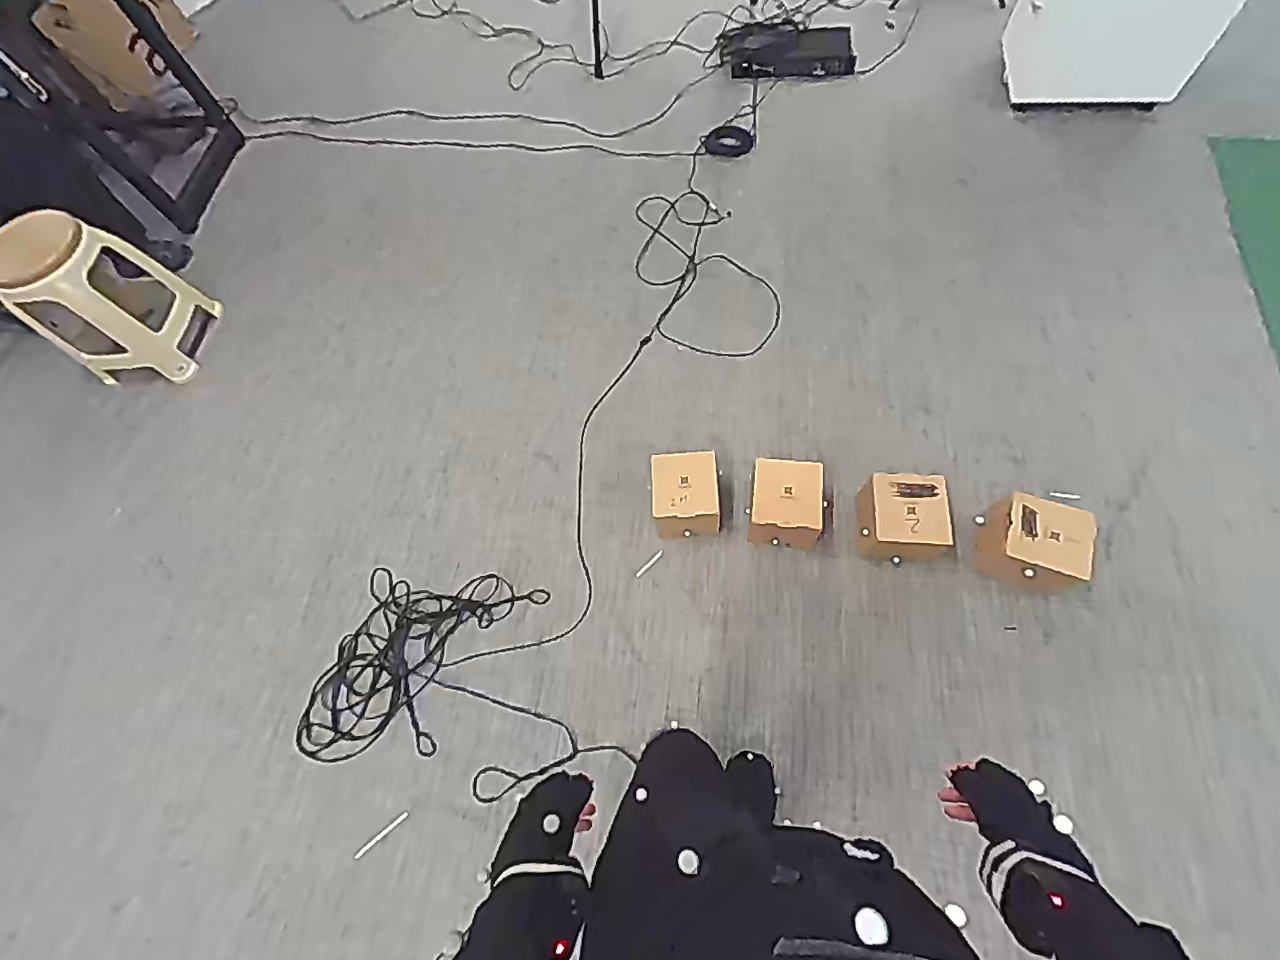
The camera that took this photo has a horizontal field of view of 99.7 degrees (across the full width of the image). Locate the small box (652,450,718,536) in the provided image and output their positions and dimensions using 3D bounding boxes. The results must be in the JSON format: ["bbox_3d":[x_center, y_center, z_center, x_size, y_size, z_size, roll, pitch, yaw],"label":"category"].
[{"bbox_3d":[0.119,0.037,1.433,0.168,0.176,0.179,-3,66,6],"label":"small box"}]

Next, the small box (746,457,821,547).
[{"bbox_3d":[0.367,0.059,1.397,0.168,0.176,0.179,5,67,9],"label":"small box"}]

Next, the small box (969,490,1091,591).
[{"bbox_3d":[0.920,0.150,1.289,0.179,0.176,0.168,18,70,13],"label":"small box"}]
